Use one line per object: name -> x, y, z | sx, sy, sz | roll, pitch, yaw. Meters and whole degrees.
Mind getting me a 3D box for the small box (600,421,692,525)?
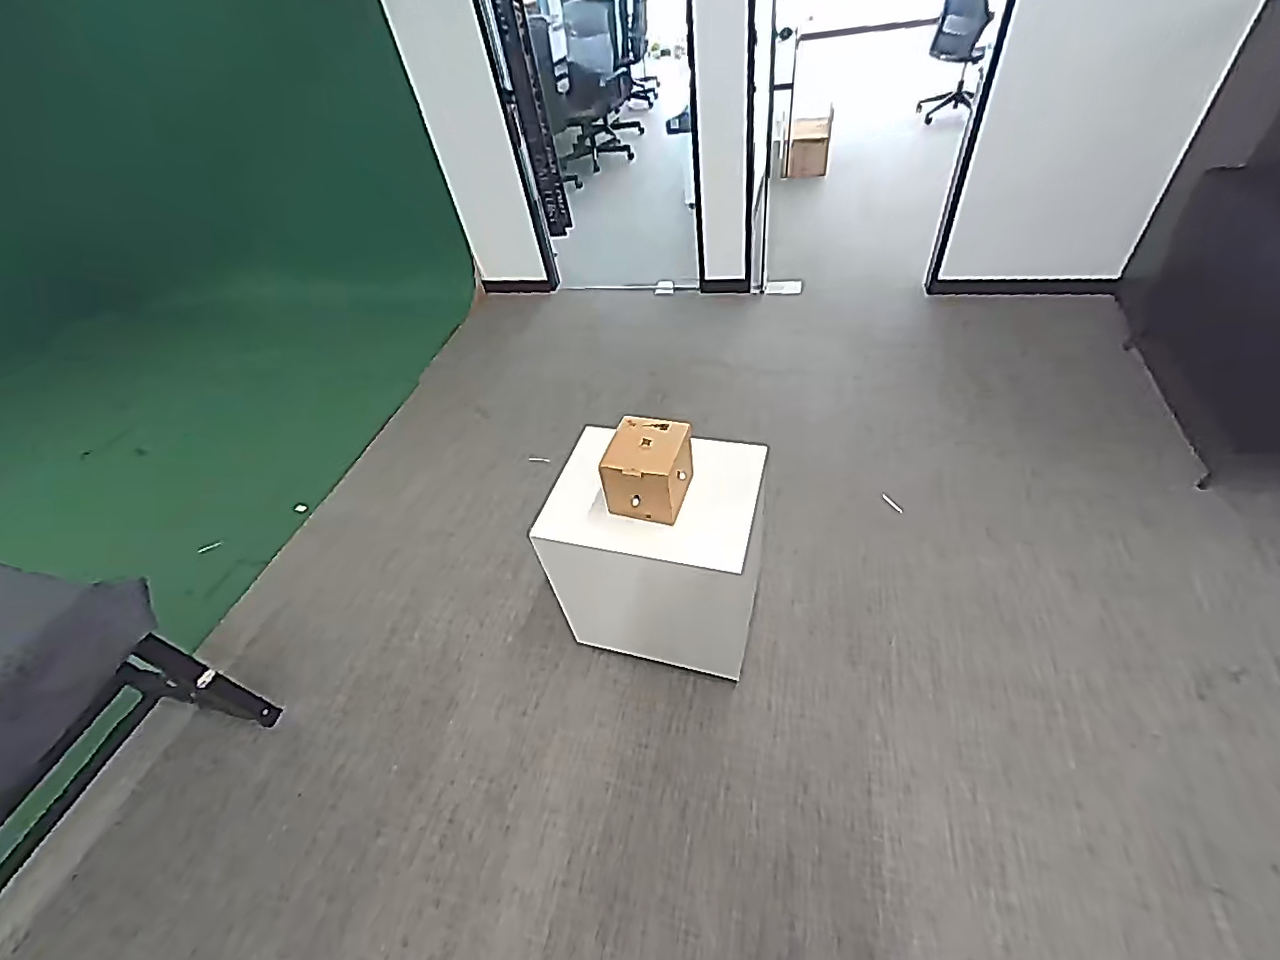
small box -> 0.024, -0.015, 1.276 | 0.168, 0.176, 0.179 | 8, 48, 17
